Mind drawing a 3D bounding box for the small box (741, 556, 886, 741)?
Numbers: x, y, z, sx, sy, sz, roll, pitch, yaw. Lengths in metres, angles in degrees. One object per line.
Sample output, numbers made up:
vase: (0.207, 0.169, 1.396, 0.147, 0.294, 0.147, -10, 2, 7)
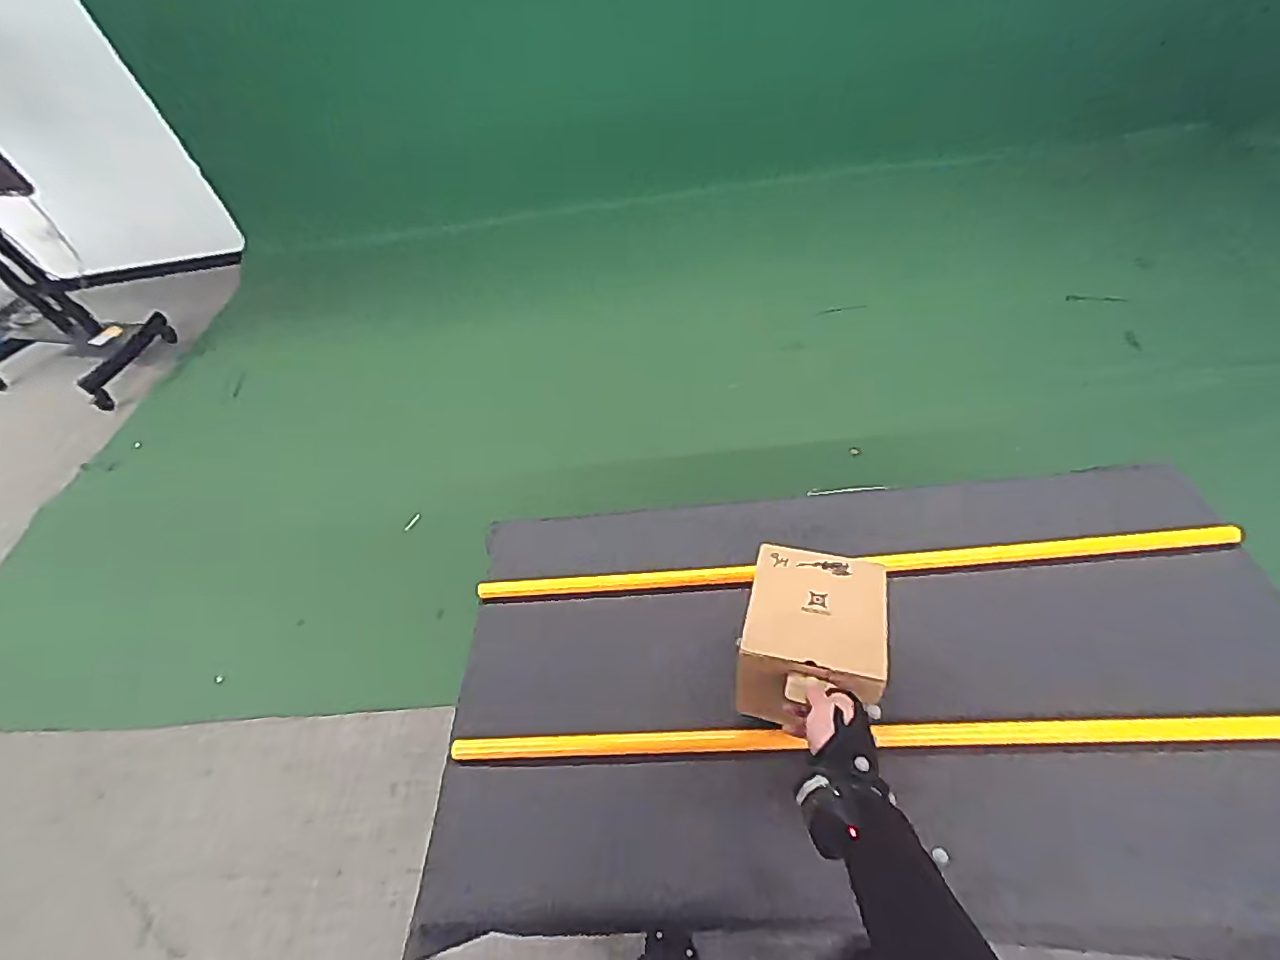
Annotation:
small box: (0.235, 0.229, 0.739, 0.168, 0.176, 0.179, 3, 44, 17)
